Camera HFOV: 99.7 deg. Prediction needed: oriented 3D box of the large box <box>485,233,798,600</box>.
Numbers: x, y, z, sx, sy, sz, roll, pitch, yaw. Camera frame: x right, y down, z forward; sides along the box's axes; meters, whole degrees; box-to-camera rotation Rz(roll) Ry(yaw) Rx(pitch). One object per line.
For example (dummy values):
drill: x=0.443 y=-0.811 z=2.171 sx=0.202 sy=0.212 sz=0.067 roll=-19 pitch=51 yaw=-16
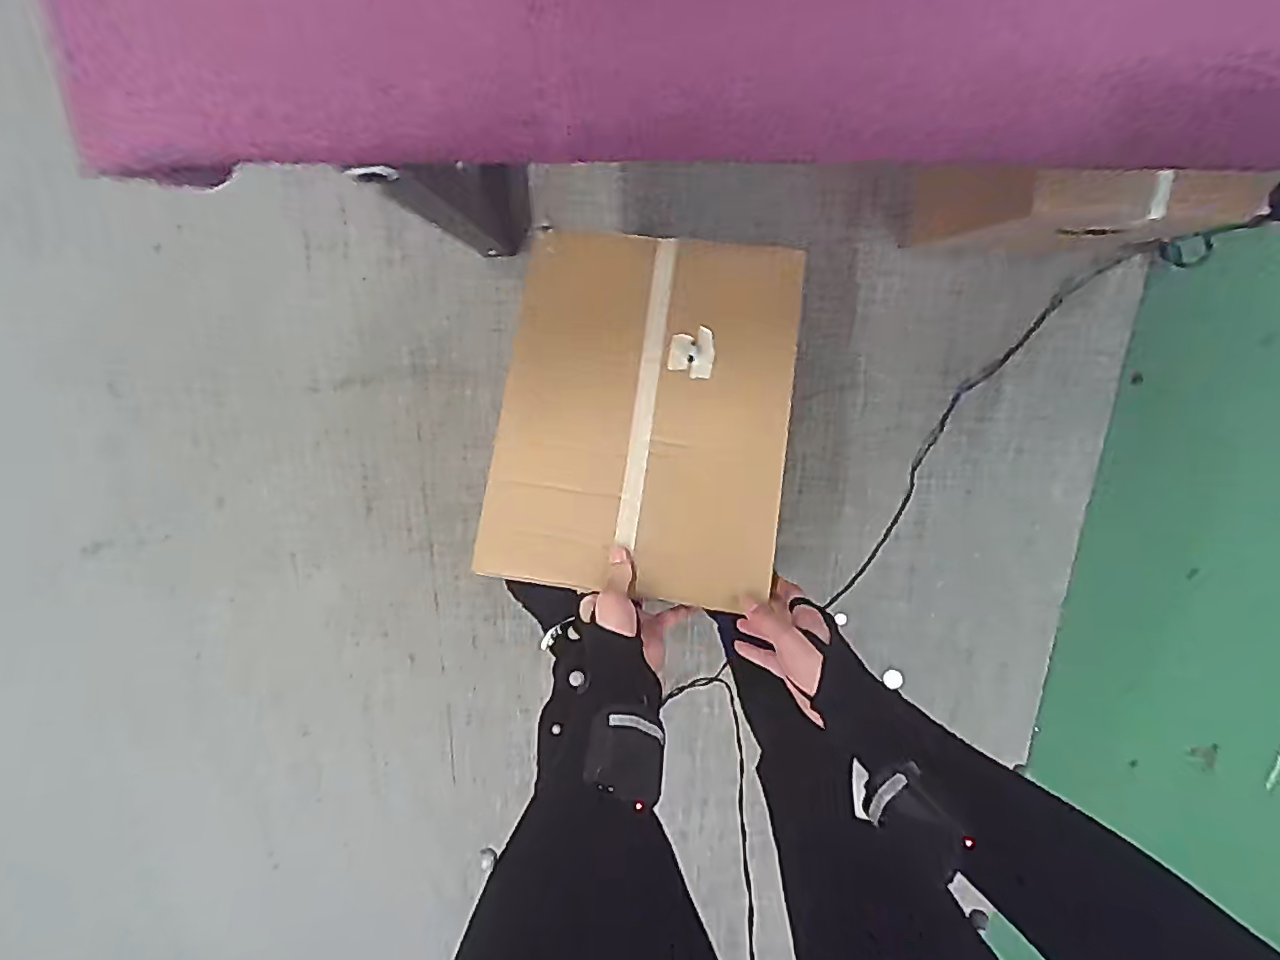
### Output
large box: x=0.017 y=-0.057 z=0.739 sx=0.320 sy=0.320 sz=0.408 roll=7 pitch=80 yaw=4
